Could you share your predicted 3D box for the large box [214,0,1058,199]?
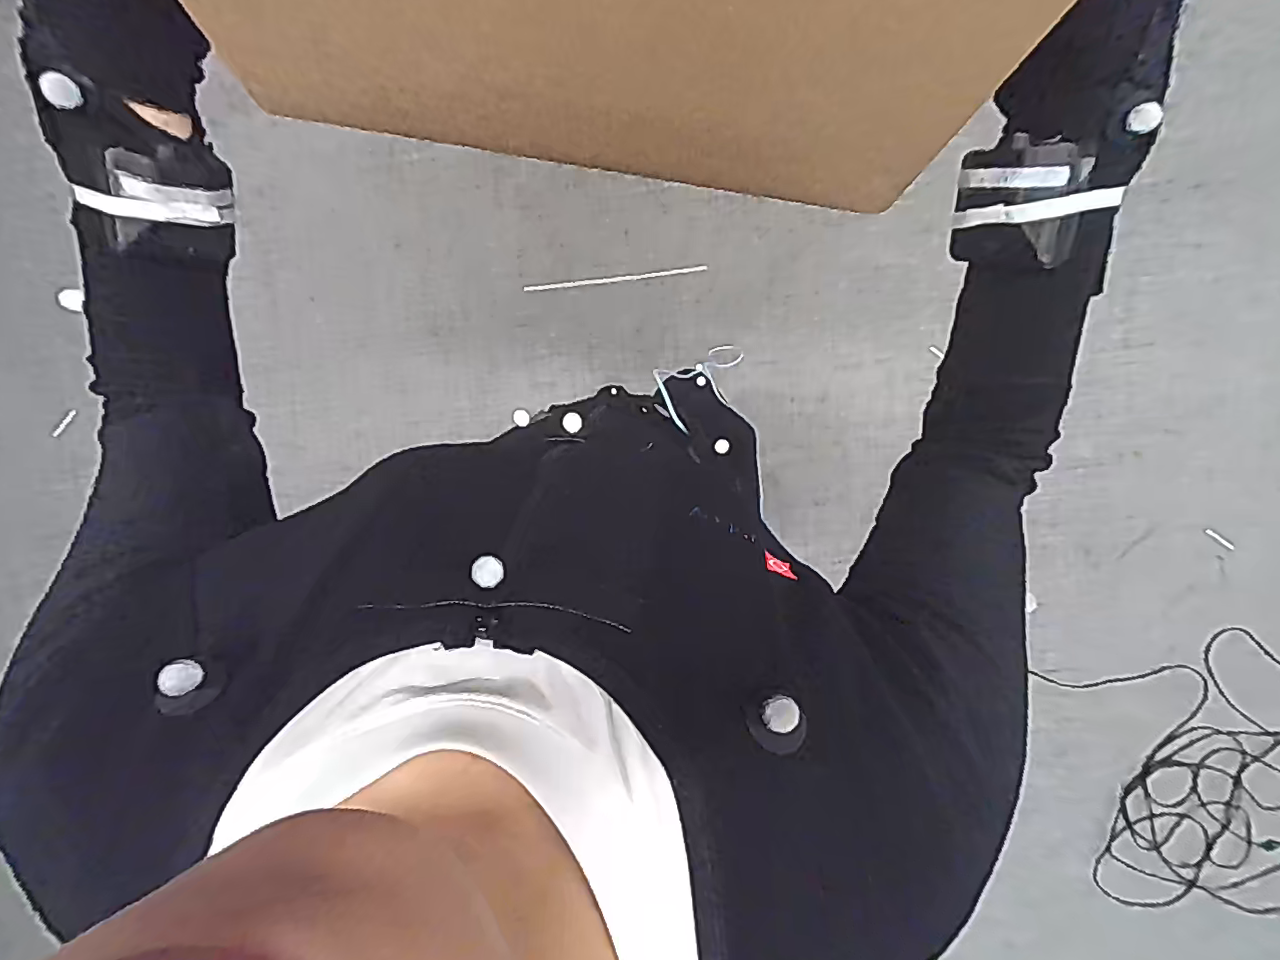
[{"bbox_3d":[0.002,-0.376,0.225,0.408,0.320,0.320,7,84,-6],"label":"large box"}]
